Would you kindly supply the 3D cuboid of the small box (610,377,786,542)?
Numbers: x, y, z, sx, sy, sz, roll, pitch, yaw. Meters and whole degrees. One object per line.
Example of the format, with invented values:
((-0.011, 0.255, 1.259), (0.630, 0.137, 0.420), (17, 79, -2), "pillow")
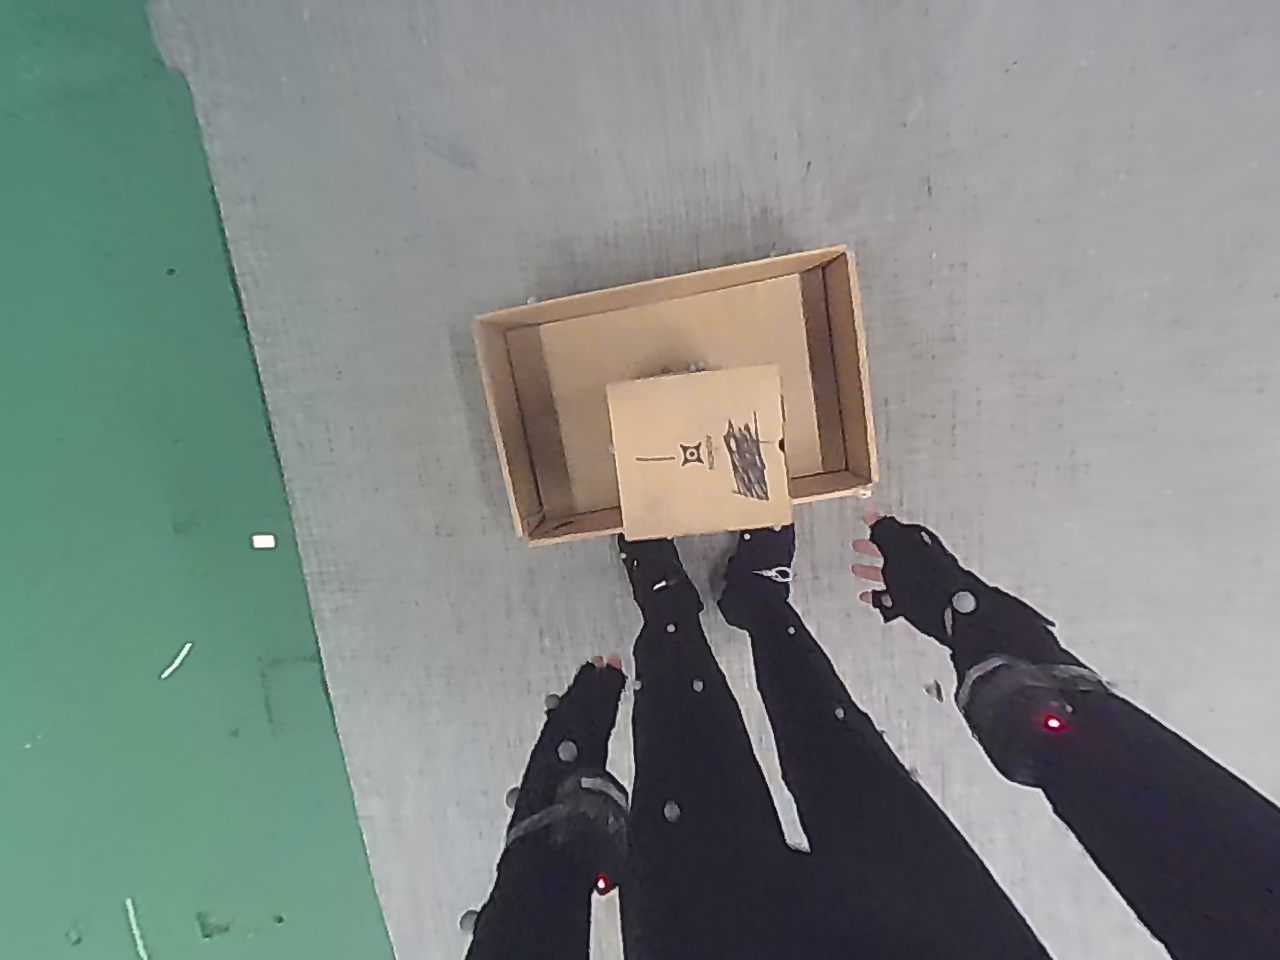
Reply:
((0.064, -0.032, 0.643), (0.179, 0.176, 0.168), (-5, 98, 3), "small box")
